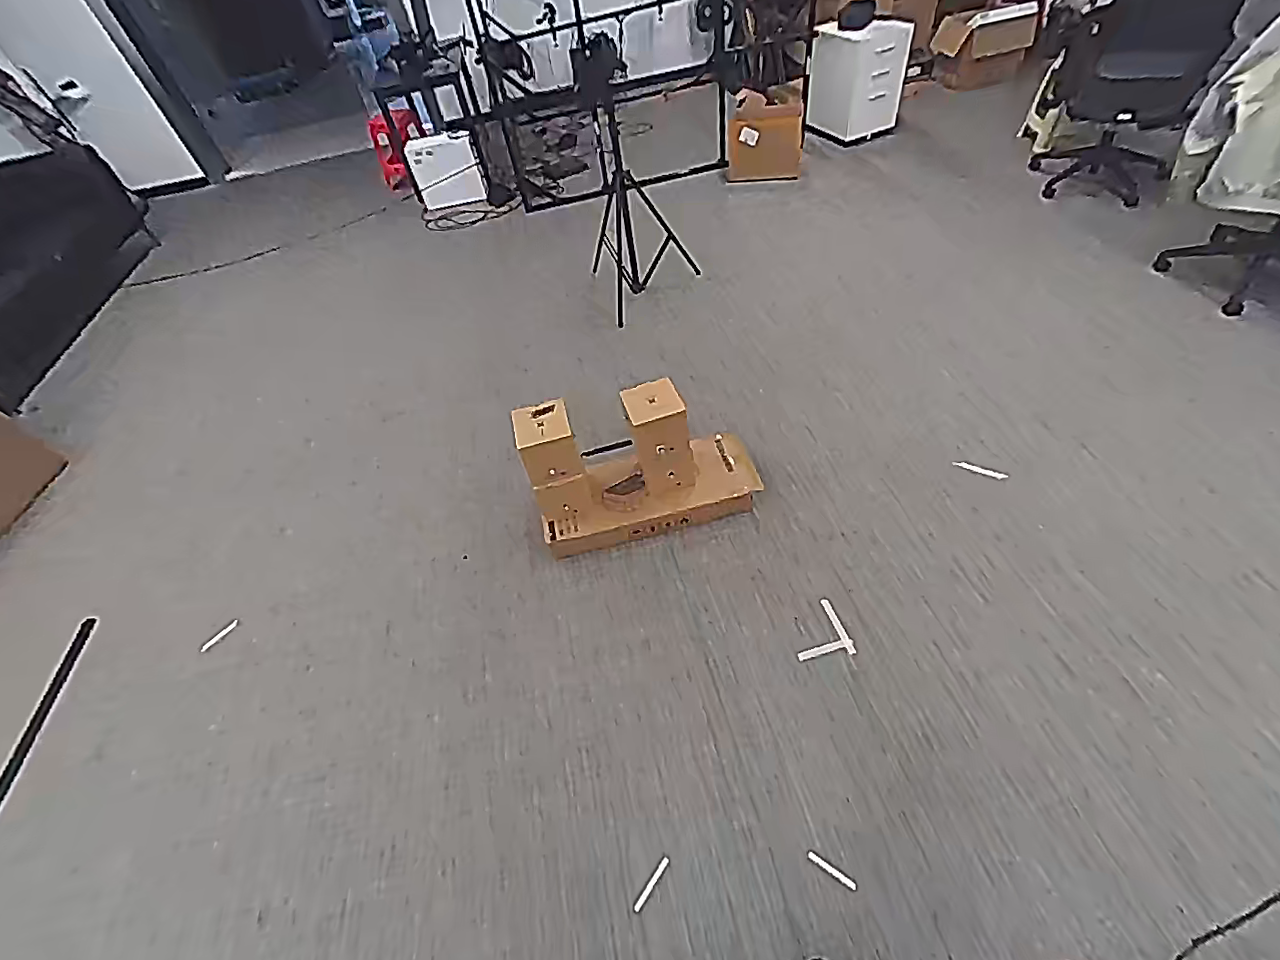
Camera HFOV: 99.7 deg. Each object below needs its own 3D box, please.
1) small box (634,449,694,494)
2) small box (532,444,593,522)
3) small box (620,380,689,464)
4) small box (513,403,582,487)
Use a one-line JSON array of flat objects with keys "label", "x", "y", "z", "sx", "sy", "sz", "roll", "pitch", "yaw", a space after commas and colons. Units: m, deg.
[{"label": "small box", "x": 0.077, "y": -0.074, "z": 1.813, "sx": 0.168, "sy": 0.176, "sz": 0.179, "roll": -16, "pitch": 49, "yaw": -3}, {"label": "small box", "x": -0.261, "y": 0.011, "z": 1.791, "sx": 0.168, "sy": 0.176, "sz": 0.179, "roll": -14, "pitch": 48, "yaw": -3}, {"label": "small box", "x": 0.046, "y": -0.179, "z": 1.691, "sx": 0.168, "sy": 0.176, "sz": 0.179, "roll": -19, "pitch": 49, "yaw": -5}, {"label": "small box", "x": -0.287, "y": -0.108, "z": 1.680, "sx": 0.168, "sy": 0.176, "sz": 0.179, "roll": -15, "pitch": 48, "yaw": -5}]
